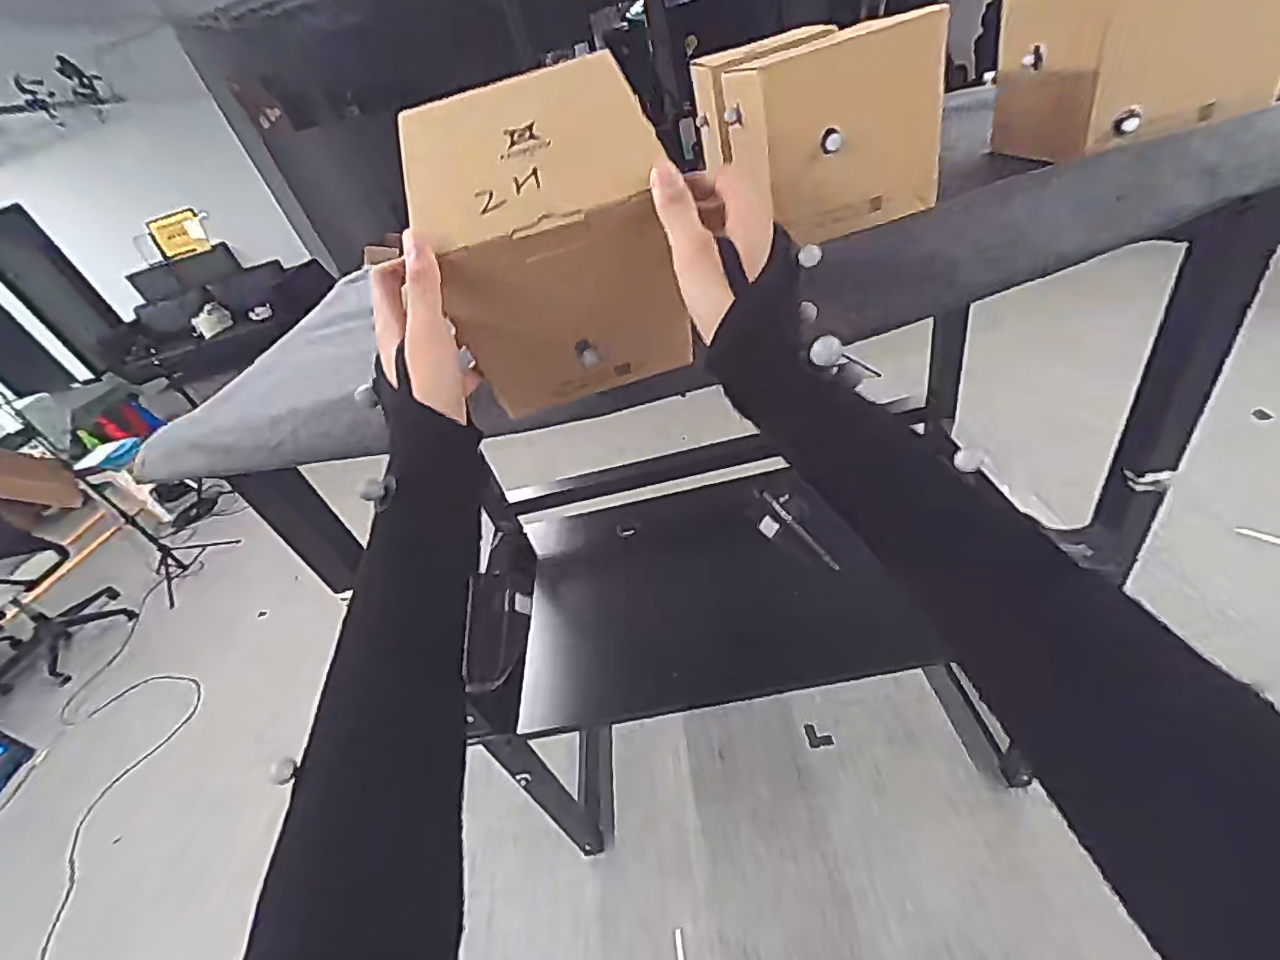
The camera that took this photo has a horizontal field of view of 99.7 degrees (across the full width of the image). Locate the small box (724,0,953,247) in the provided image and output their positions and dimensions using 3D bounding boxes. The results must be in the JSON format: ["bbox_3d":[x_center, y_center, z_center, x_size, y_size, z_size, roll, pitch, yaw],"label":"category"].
[{"bbox_3d":[0.197,-0.362,0.566,0.168,0.176,0.179,-14,35,5],"label":"small box"}]

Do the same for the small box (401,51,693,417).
[{"bbox_3d":[-0.063,-0.180,0.419,0.168,0.176,0.179,-18,61,-1],"label":"small box"}]

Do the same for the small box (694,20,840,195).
[{"bbox_3d":[0.182,-0.532,0.784,0.168,0.176,0.179,-14,37,6],"label":"small box"}]

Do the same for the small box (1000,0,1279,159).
[{"bbox_3d":[0.488,-0.433,0.529,0.168,0.176,0.179,-12,34,9],"label":"small box"}]
